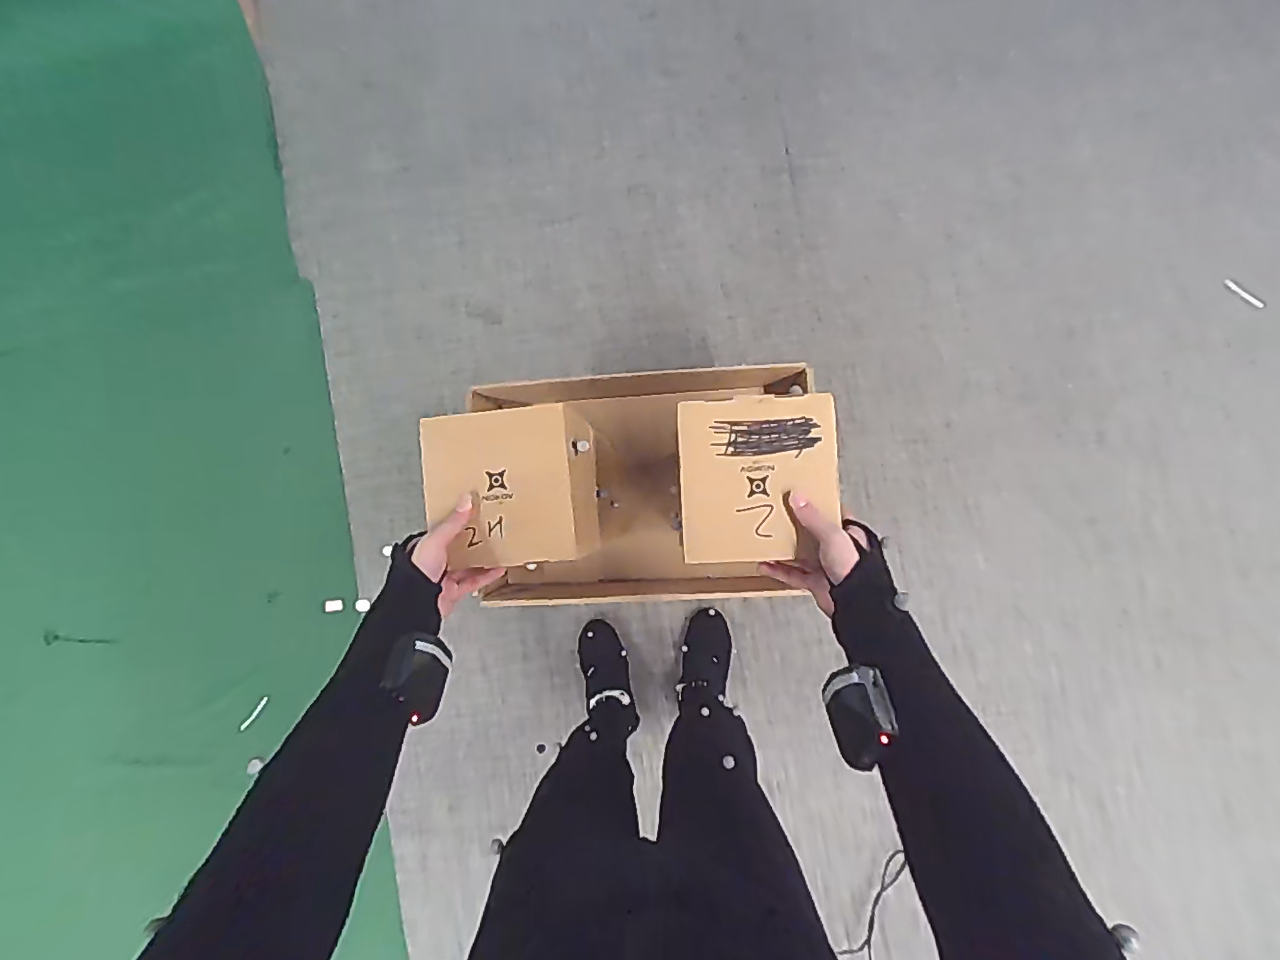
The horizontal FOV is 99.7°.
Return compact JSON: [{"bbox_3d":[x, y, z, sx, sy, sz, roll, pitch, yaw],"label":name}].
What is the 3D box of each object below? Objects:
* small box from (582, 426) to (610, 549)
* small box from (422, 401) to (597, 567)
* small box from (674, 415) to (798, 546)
[{"bbox_3d":[-0.140,0.017,0.844,0.168,0.176,0.179,-2,87,5],"label":"small box"},{"bbox_3d":[-0.153,0.010,0.680,0.168,0.176,0.179,-6,87,5],"label":"small box"},{"bbox_3d":[0.138,0.005,0.812,0.168,0.176,0.179,-2,86,5],"label":"small box"}]
